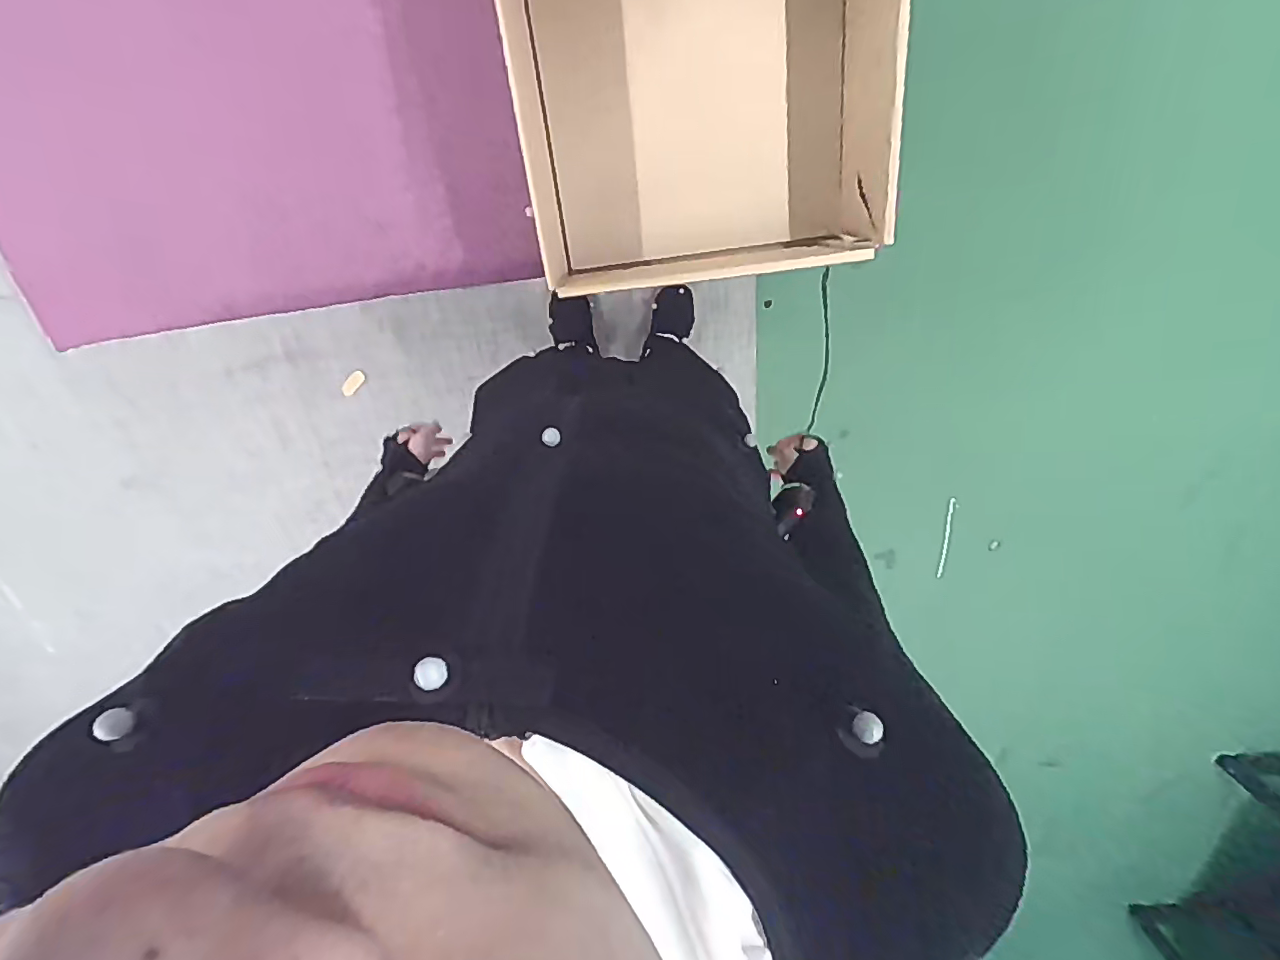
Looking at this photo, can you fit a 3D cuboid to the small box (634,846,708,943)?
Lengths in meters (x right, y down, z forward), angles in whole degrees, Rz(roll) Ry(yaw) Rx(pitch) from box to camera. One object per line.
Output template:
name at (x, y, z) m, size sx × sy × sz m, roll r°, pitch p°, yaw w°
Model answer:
small box at (0.095, 1.326, 1.737) m, size 0.179 × 0.176 × 0.168 m, roll -32°, pitch 112°, yaw 11°
